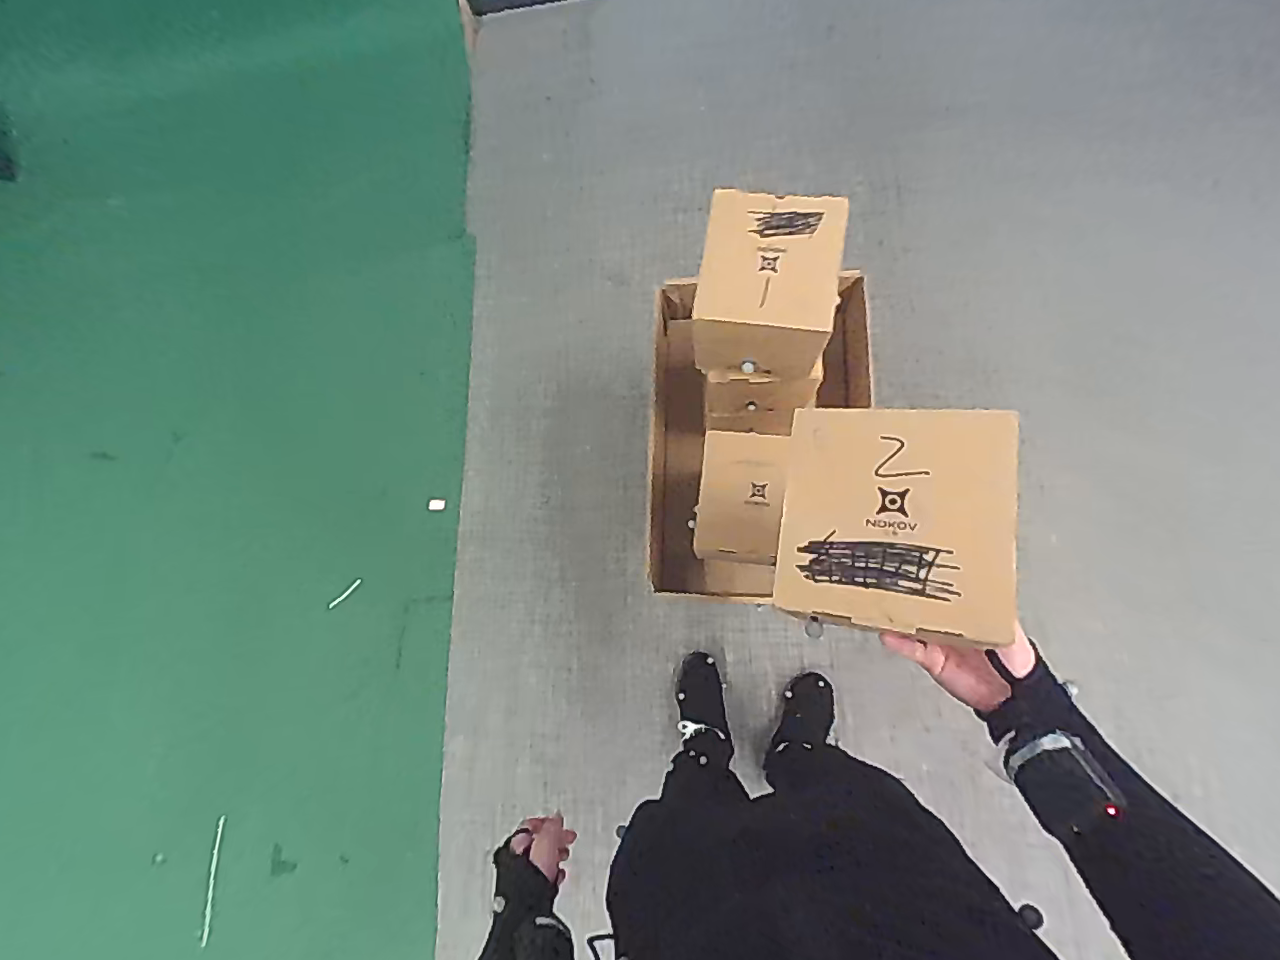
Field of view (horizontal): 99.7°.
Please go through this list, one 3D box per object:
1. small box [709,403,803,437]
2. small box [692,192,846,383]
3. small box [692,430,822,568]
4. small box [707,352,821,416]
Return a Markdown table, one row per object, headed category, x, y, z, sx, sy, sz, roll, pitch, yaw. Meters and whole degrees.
| category | x | y | z | sx | sy | sz | roll | pitch | yaw |
| --- | --- | --- | --- | --- | --- | --- | --- | --- | --- |
| small box | 0.219 | -0.186 | 1.047 | 0.168 | 0.176 | 0.179 | 0 | 79 | 9 |
| small box | 0.166 | -0.251 | 0.732 | 0.168 | 0.176 | 0.179 | 9 | 81 | 10 |
| small box | 0.175 | 0.037 | 0.832 | 0.168 | 0.176 | 0.179 | 6 | 78 | 9 |
| small box | 0.195 | -0.215 | 0.889 | 0.168 | 0.176 | 0.179 | -1 | 79 | 8 |
